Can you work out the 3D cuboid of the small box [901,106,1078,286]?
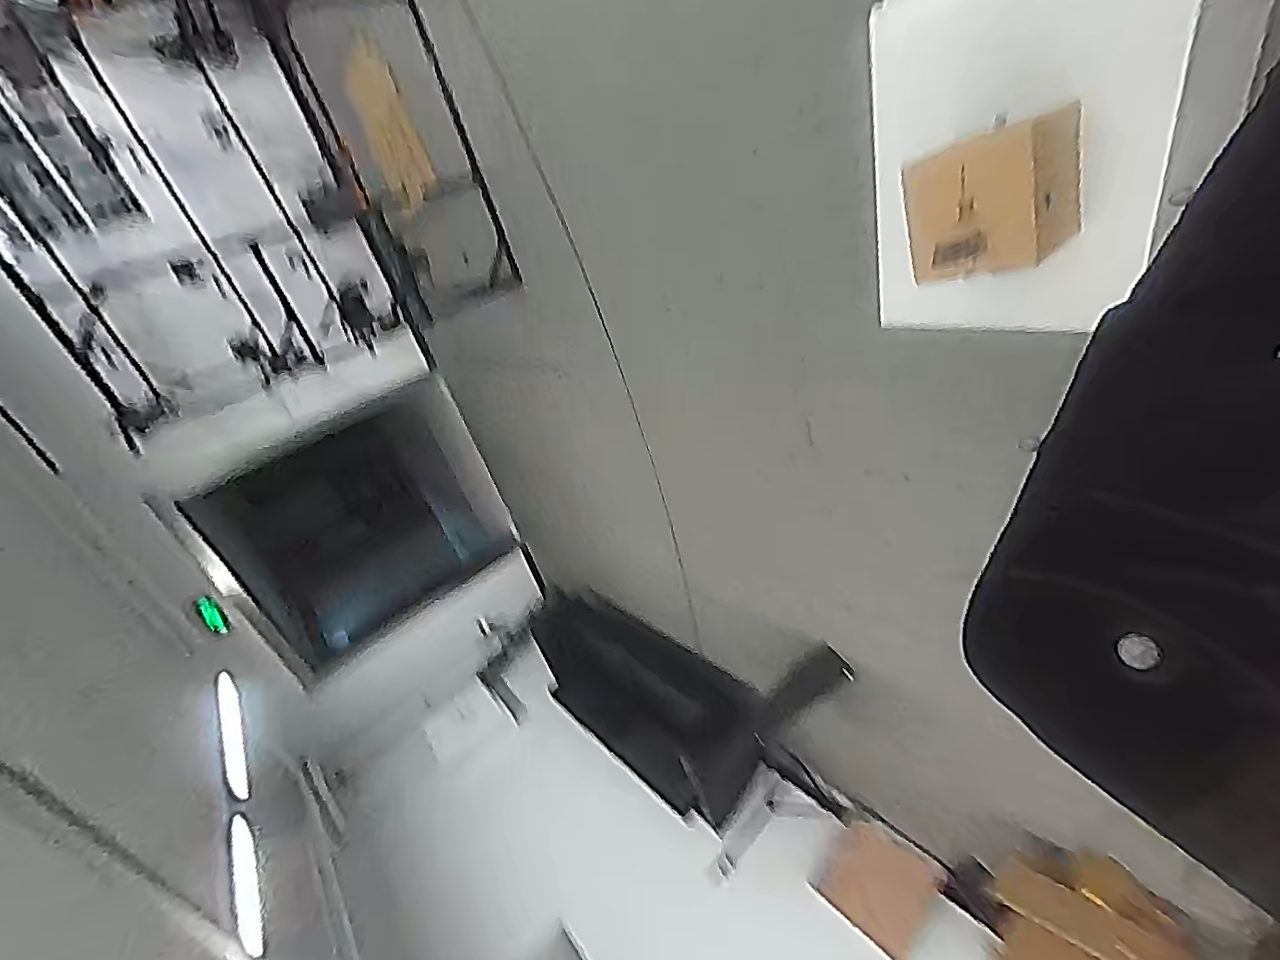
[{"bbox_3d":[0.513,-0.408,0.789,0.168,0.176,0.179,11,128,52],"label":"small box"}]
